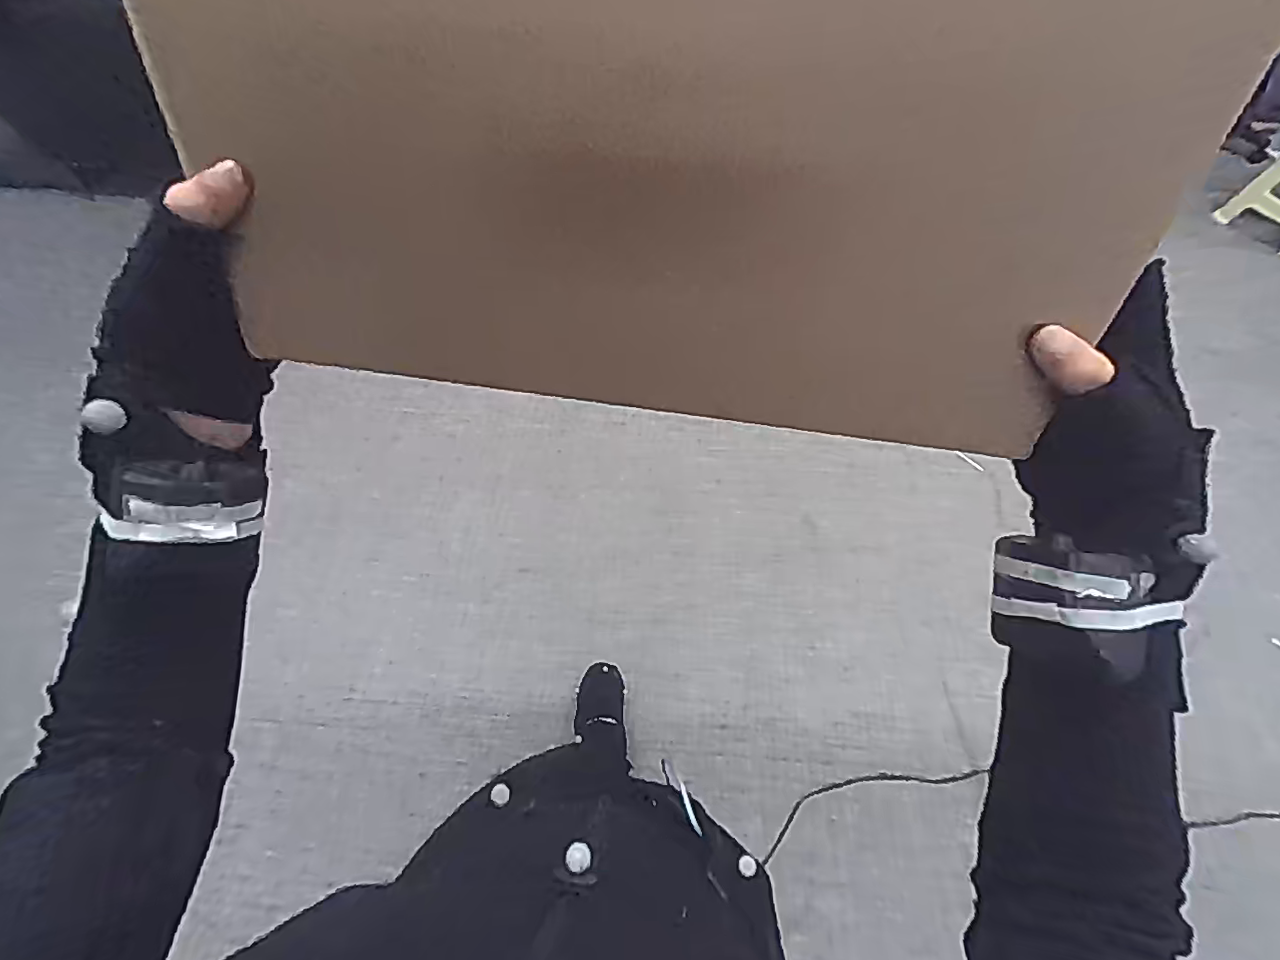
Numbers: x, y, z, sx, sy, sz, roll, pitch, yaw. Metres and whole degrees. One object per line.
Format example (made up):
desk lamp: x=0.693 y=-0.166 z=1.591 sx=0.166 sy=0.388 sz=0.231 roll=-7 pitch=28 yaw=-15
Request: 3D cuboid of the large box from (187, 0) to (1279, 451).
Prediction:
large box: x=0.034 y=-0.244 z=0.321 sx=0.408 sy=0.320 sz=0.320 roll=9 pitch=36 yaw=0
